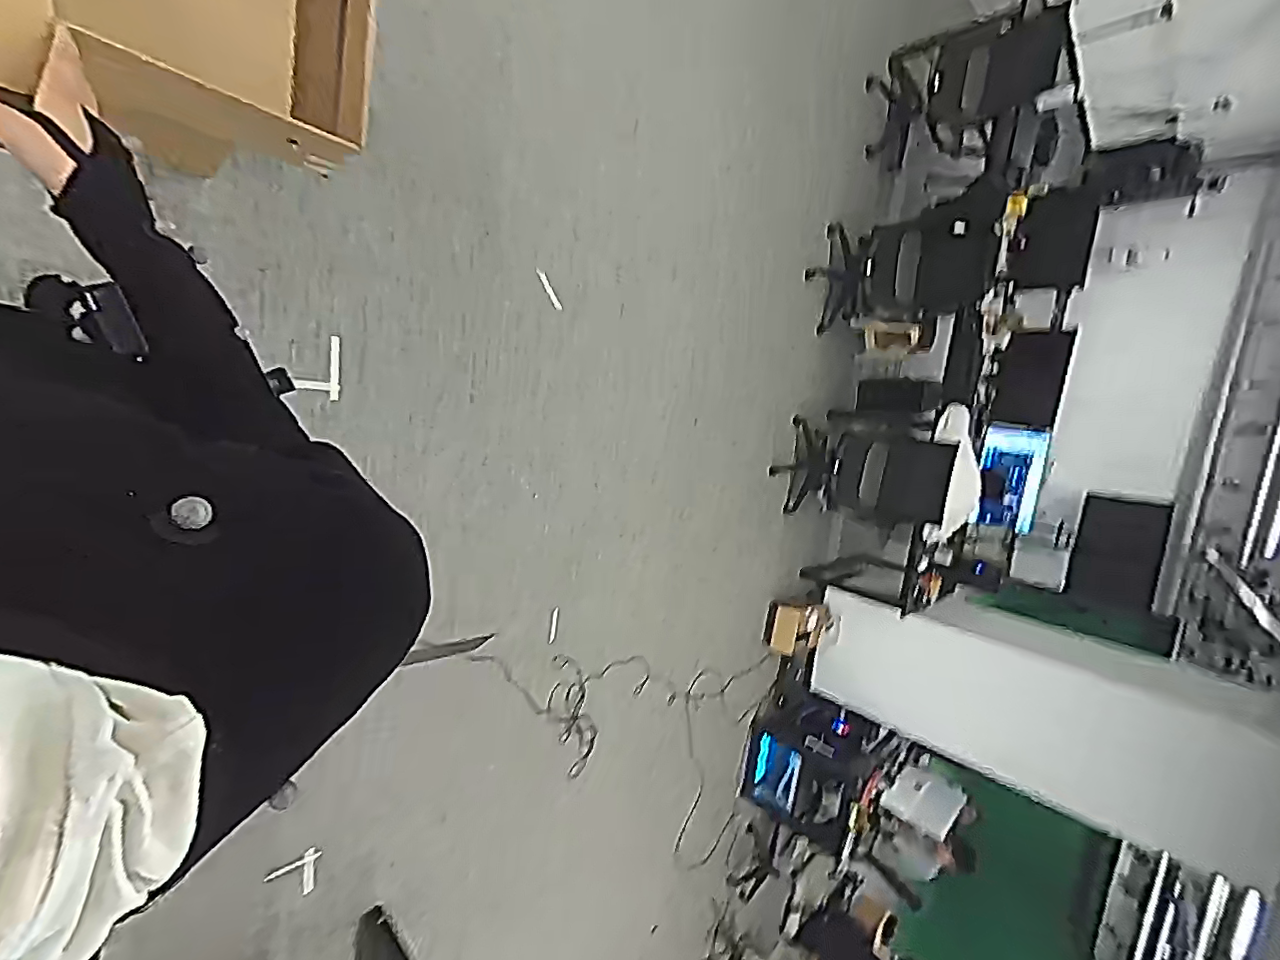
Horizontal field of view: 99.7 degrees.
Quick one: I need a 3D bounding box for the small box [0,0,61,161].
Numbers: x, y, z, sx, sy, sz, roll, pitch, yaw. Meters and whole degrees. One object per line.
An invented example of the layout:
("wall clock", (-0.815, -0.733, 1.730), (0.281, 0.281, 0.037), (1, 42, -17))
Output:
("small box", (-0.571, -0.379, 0.410), (0.168, 0.176, 0.179), (-7, 103, -47))
